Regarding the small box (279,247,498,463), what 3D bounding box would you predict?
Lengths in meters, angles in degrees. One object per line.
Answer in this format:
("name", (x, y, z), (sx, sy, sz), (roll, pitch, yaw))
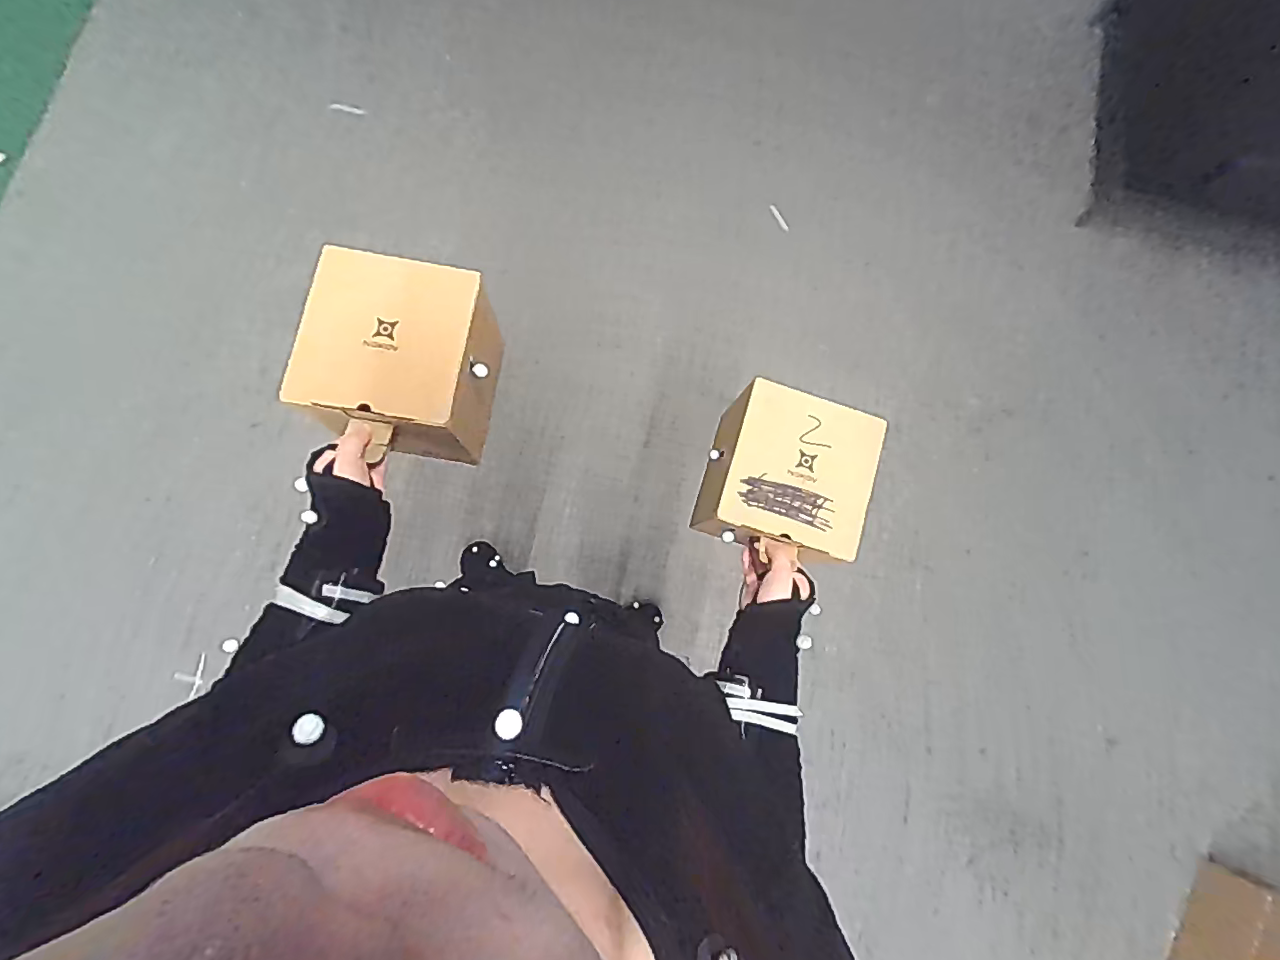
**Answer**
("small box", (-0.270, -0.132, 0.629), (0.168, 0.176, 0.179), (9, 79, -3))
